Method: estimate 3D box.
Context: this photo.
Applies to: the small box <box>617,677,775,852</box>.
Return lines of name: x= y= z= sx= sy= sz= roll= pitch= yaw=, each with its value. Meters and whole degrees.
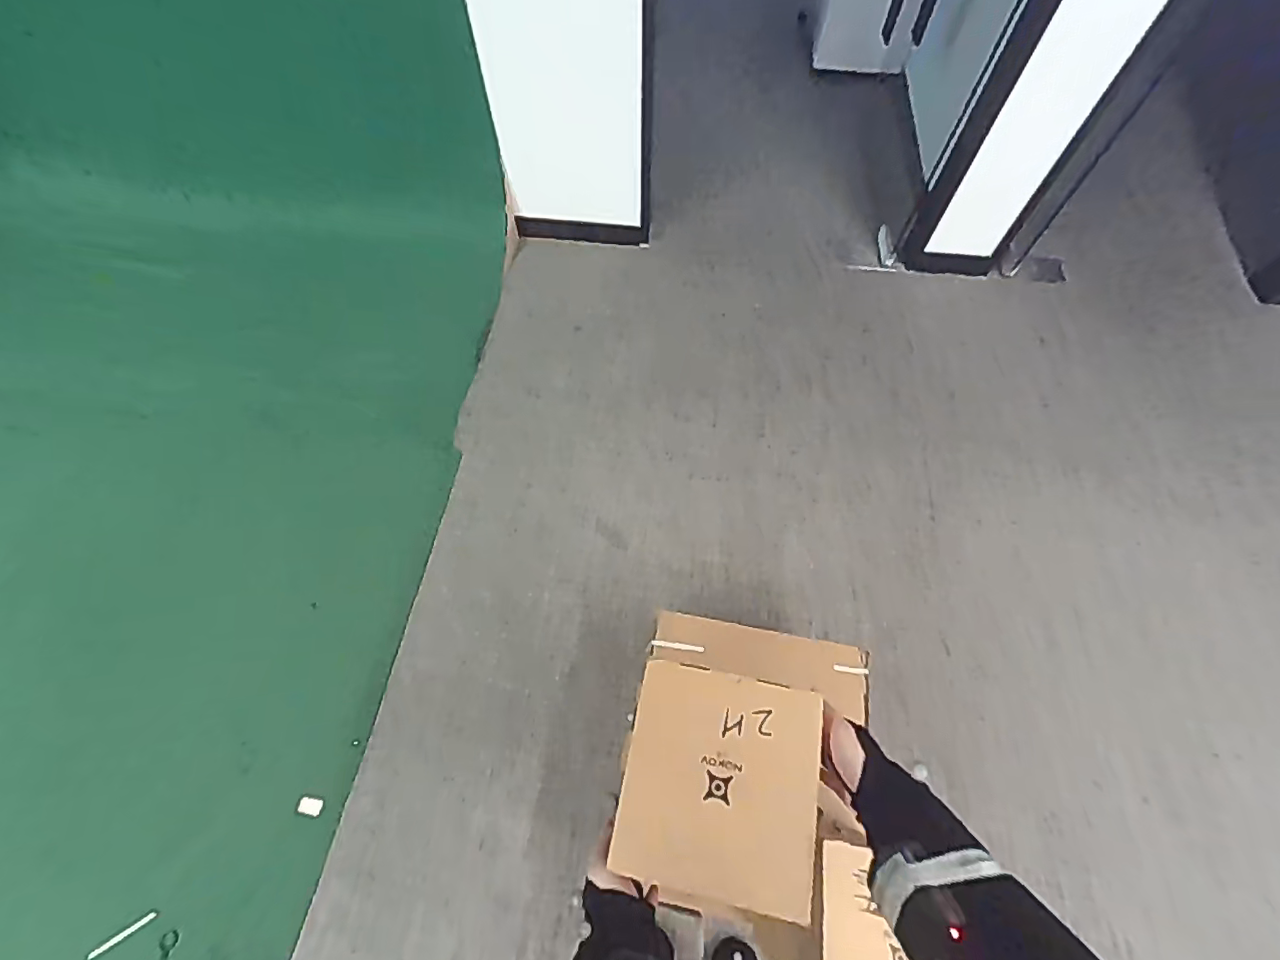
small box: x=0.073 y=0.373 z=0.716 sx=0.179 sy=0.176 sz=0.168 roll=7 pitch=62 yaw=5

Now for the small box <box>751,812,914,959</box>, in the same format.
small box: x=0.269 y=0.593 z=0.787 sx=0.179 sy=0.176 sz=0.168 roll=8 pitch=61 yaw=3
